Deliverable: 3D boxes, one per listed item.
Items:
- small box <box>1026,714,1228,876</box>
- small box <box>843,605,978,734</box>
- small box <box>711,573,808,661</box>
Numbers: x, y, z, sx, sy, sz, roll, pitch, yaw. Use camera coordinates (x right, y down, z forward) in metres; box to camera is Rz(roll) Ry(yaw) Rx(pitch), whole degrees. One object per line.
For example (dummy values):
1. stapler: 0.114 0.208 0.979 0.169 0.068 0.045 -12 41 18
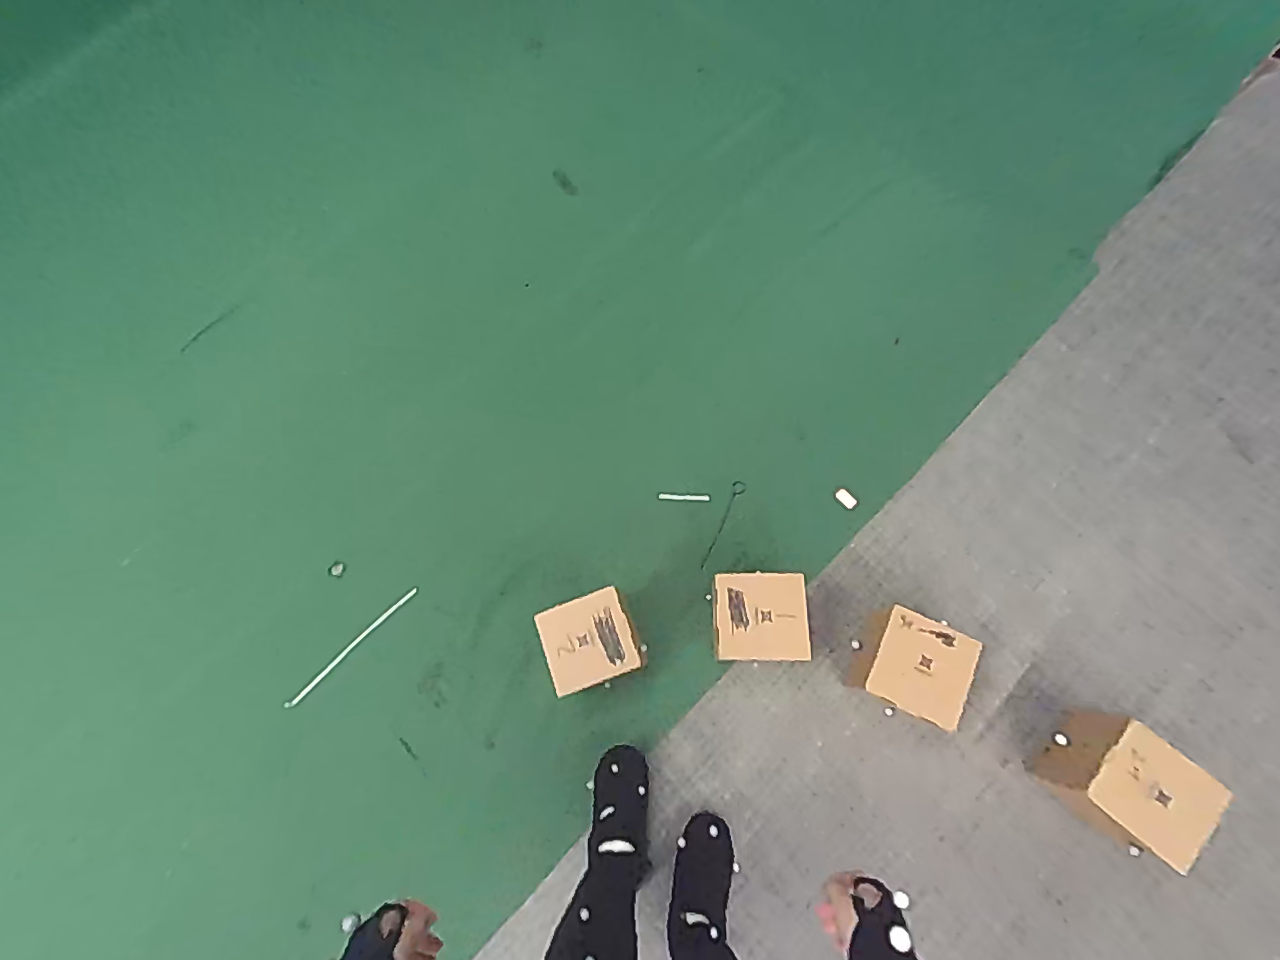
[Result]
1. small box: 0.864 0.551 0.979 0.179 0.176 0.168 41 80 15
2. small box: 0.522 0.368 1.070 0.168 0.176 0.179 25 77 12
3. small box: 0.238 0.288 1.121 0.179 0.176 0.168 -1 72 4
